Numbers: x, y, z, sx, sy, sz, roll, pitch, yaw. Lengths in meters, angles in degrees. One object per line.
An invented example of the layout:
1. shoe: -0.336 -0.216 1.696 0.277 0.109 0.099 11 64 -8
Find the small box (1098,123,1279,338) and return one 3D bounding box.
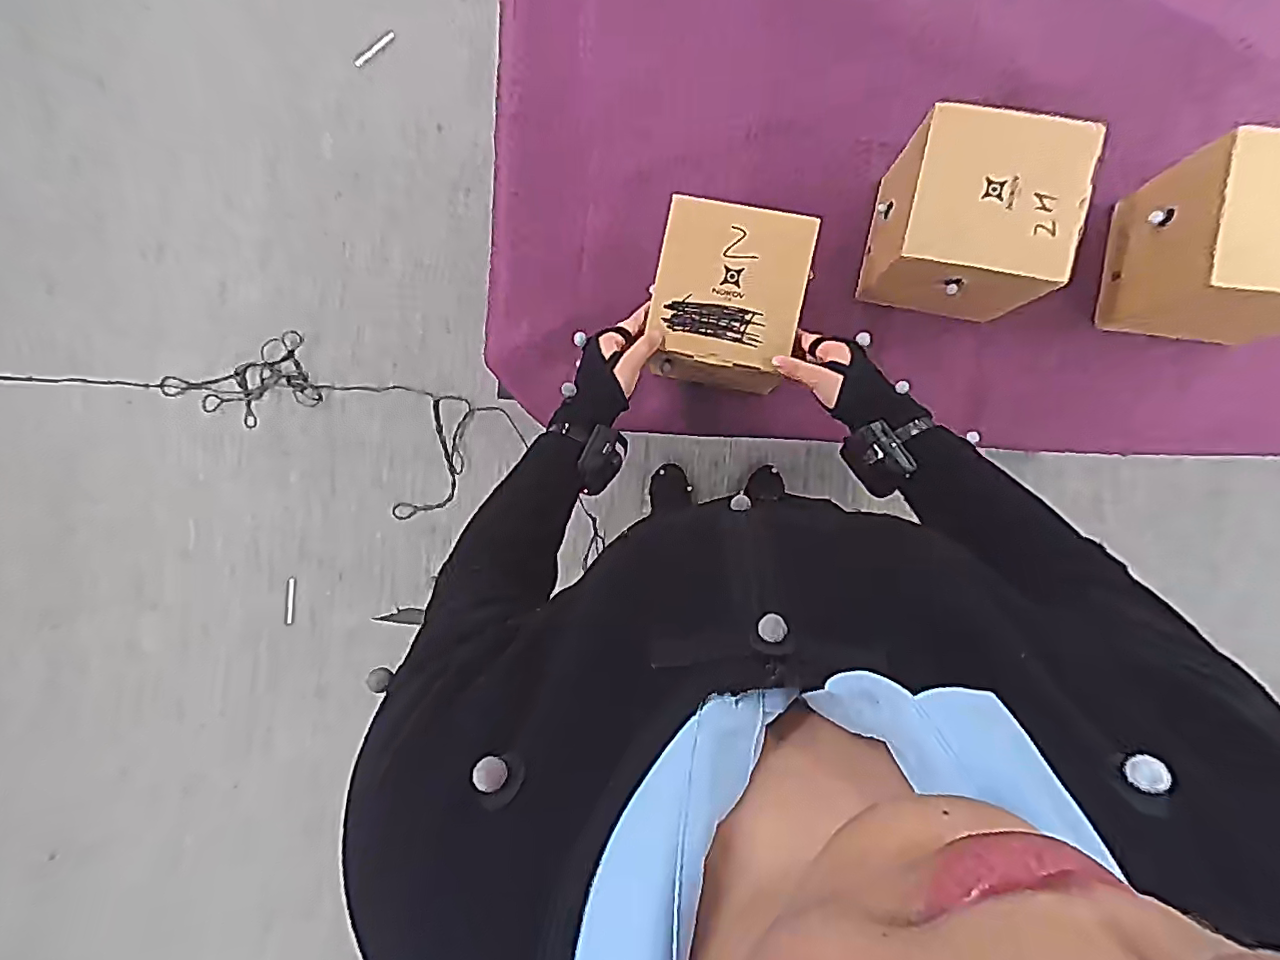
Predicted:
1. small box: 0.682 -0.270 0.621 0.179 0.176 0.168 8 92 4

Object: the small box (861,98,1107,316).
1. small box: 0.386 -0.308 0.645 0.179 0.176 0.168 12 94 4
